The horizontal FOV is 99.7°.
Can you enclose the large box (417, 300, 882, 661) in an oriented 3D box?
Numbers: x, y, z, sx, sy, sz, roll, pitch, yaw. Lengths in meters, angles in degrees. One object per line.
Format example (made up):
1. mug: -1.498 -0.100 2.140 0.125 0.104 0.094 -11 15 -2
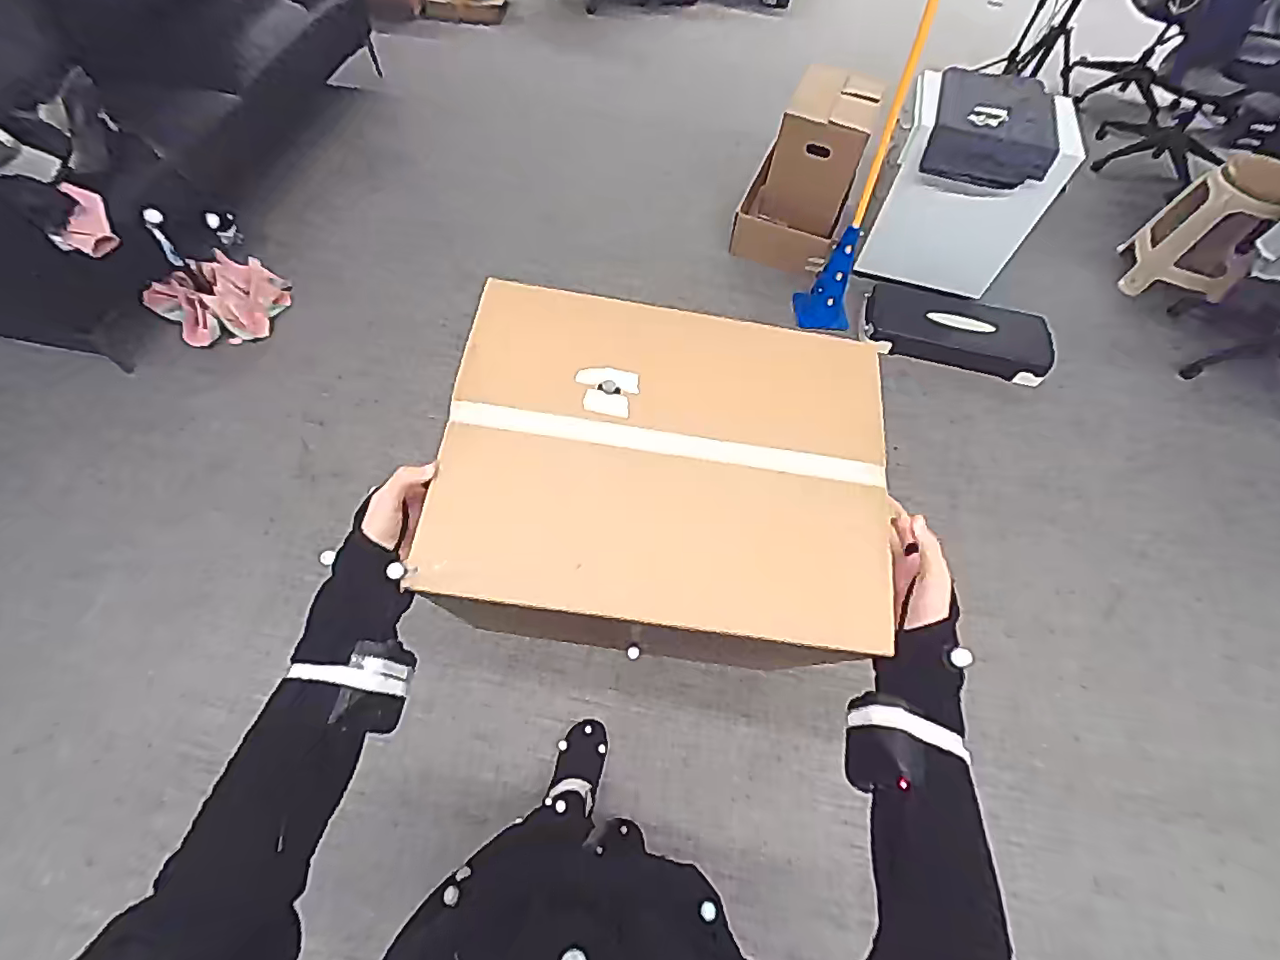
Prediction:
1. large box: 0.017 0.033 0.646 0.408 0.320 0.320 8 68 -2
